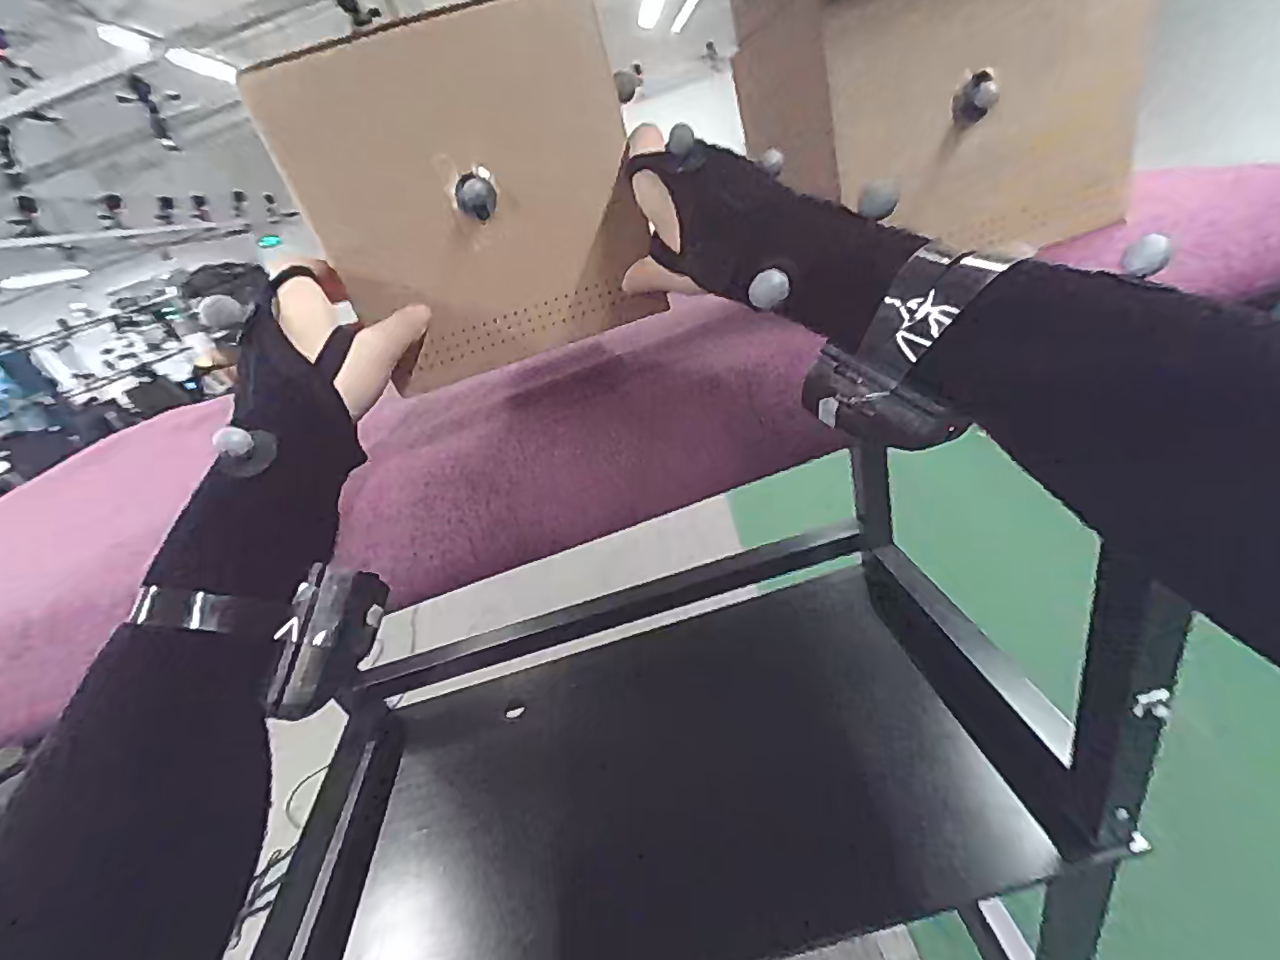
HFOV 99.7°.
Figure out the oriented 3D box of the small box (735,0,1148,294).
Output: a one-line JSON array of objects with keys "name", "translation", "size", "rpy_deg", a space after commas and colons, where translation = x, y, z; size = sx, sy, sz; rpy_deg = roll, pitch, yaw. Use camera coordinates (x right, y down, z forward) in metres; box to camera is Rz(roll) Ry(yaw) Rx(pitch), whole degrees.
[{"name": "small box", "translation": [0.182, -0.245, 0.360], "size": [0.179, 0.176, 0.168], "rpy_deg": [-19, 29, 3]}]
